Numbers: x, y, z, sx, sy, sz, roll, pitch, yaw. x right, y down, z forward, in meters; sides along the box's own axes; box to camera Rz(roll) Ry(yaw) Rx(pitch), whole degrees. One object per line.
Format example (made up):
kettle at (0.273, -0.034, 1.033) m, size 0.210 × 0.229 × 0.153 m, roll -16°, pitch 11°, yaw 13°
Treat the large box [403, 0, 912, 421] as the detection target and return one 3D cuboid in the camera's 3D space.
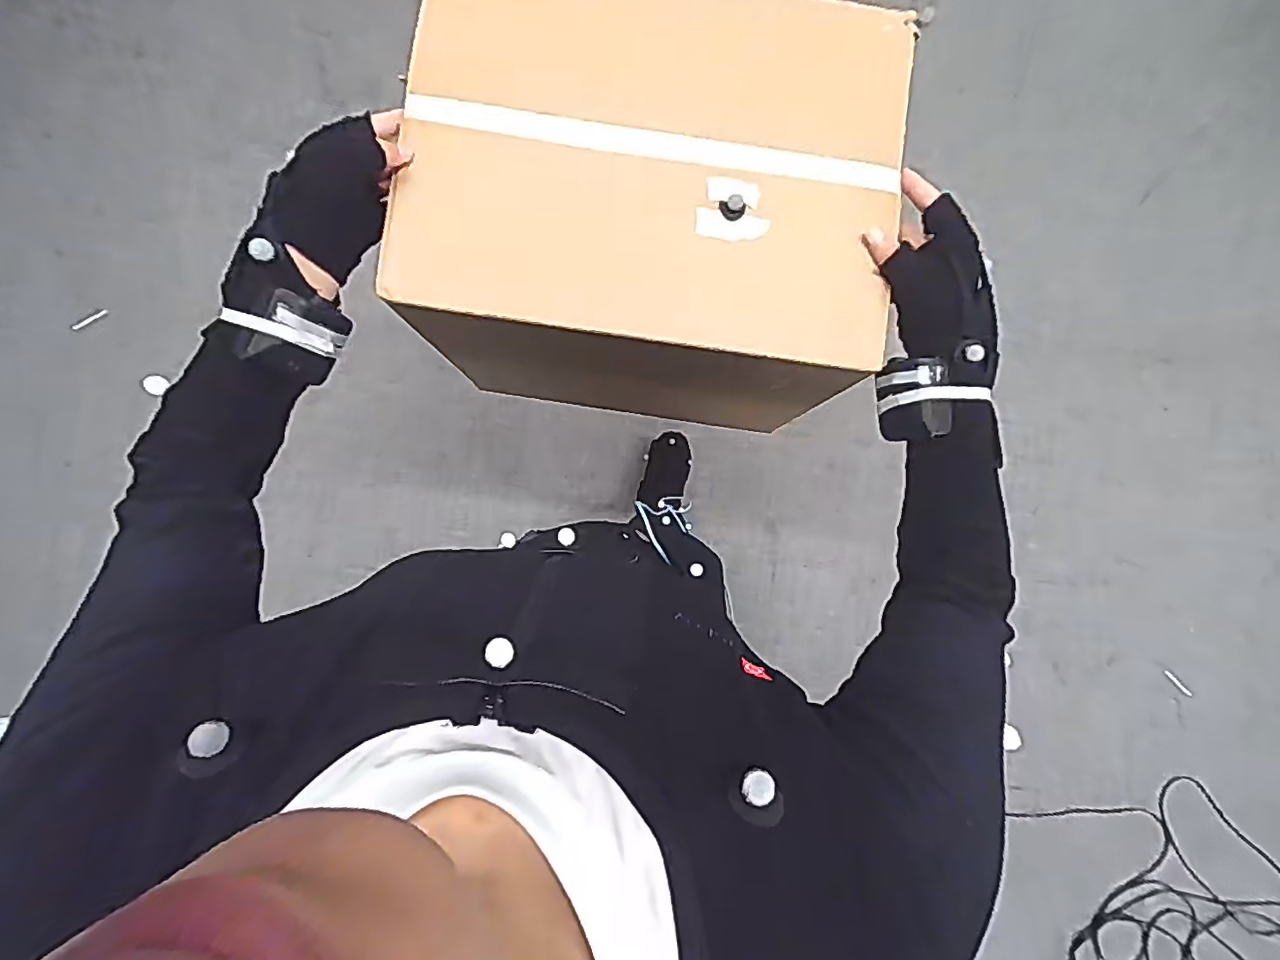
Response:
large box at (0.015, -0.264, 0.599) m, size 0.408 × 0.320 × 0.320 m, roll 8°, pitch 86°, yaw -2°
